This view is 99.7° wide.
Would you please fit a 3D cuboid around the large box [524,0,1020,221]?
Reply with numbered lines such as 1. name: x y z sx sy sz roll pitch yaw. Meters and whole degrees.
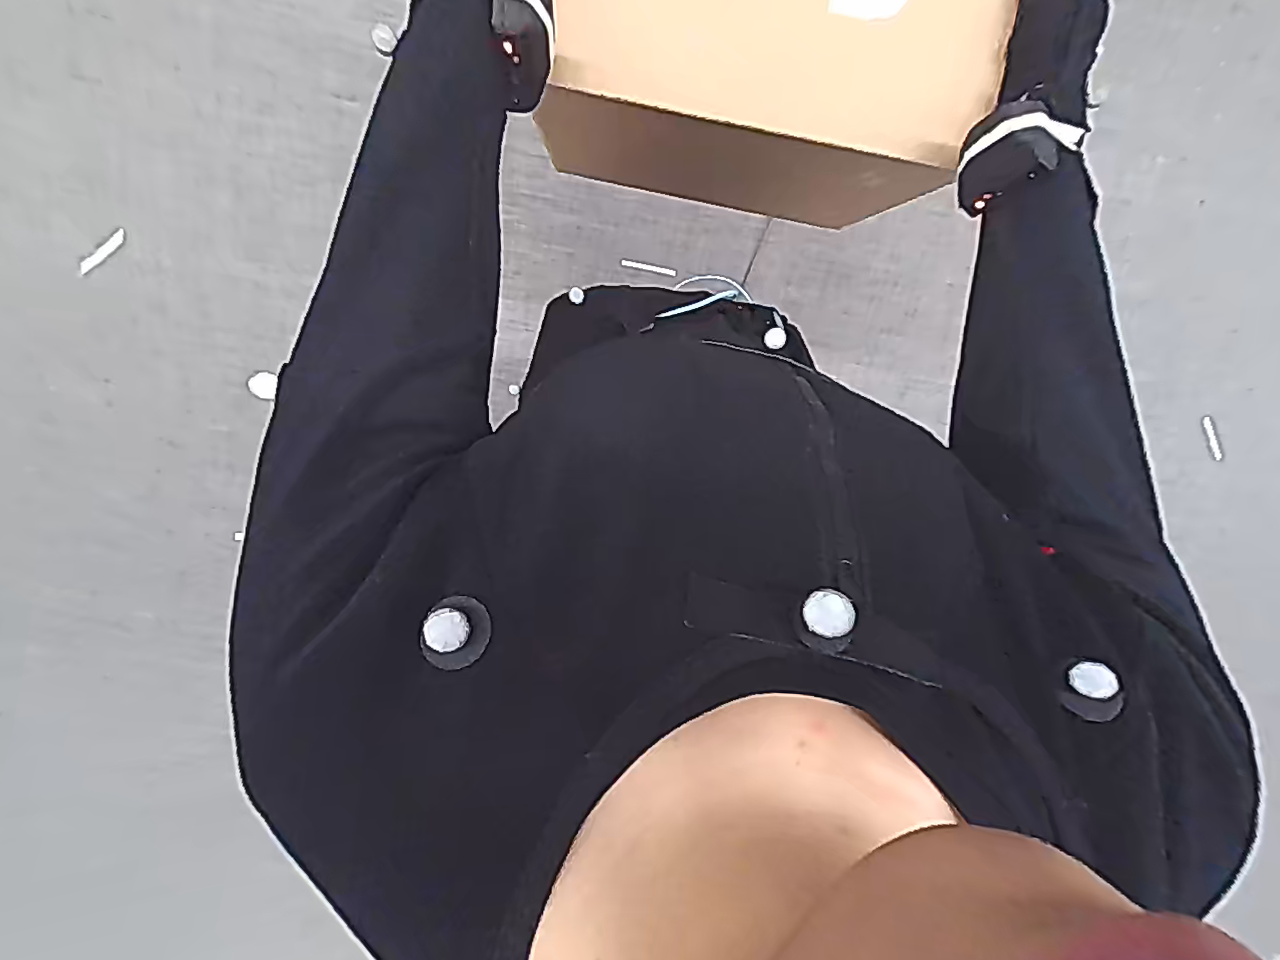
1. large box: 0.115 -0.493 0.562 0.408 0.320 0.320 9 107 -5
